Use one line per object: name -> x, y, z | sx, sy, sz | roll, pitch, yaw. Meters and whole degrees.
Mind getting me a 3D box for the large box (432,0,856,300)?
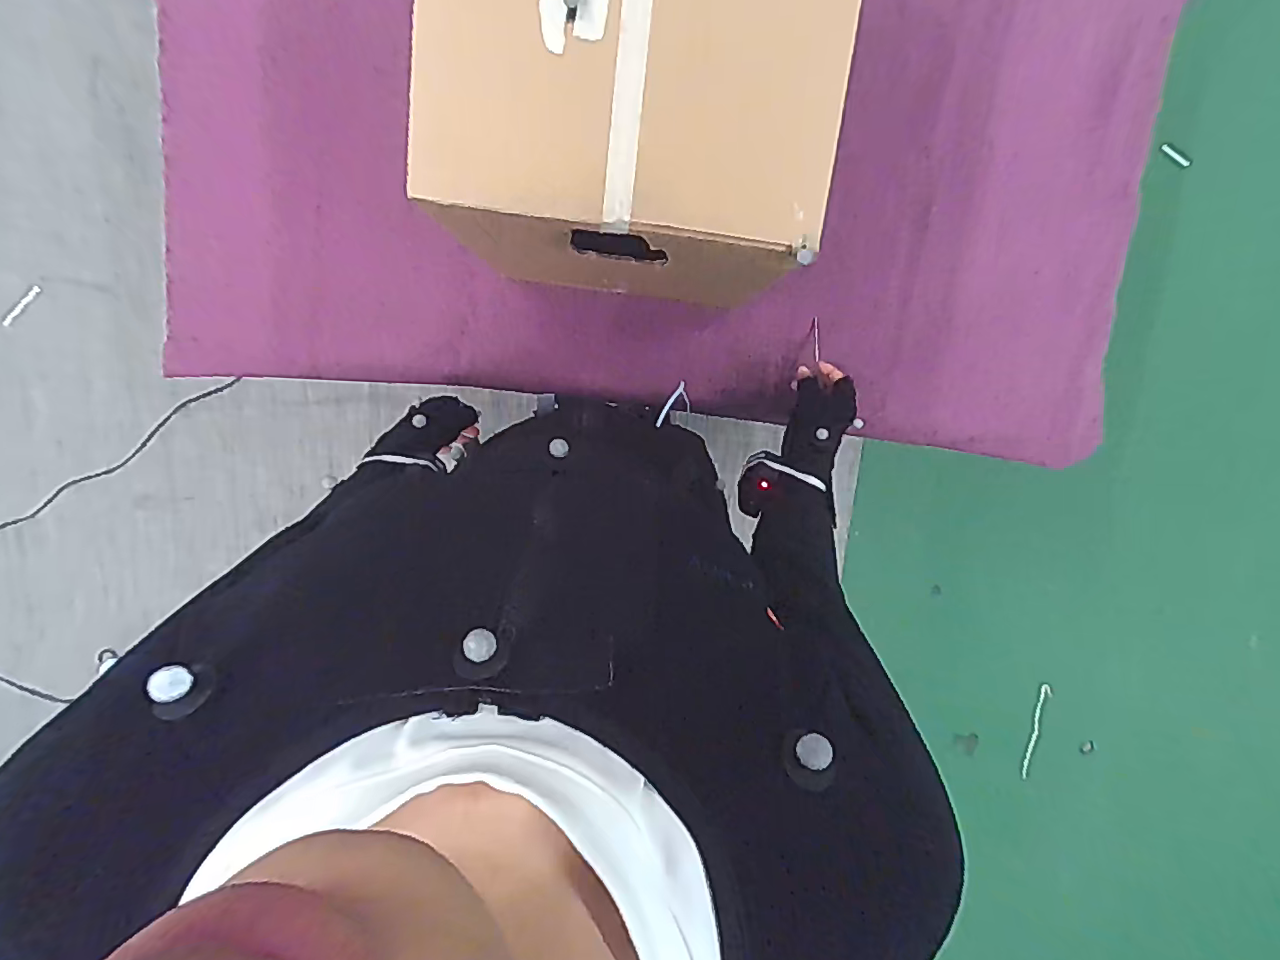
large box -> 0.006, -0.422, 0.534 | 0.320, 0.320, 0.408 | 7, 101, -2
